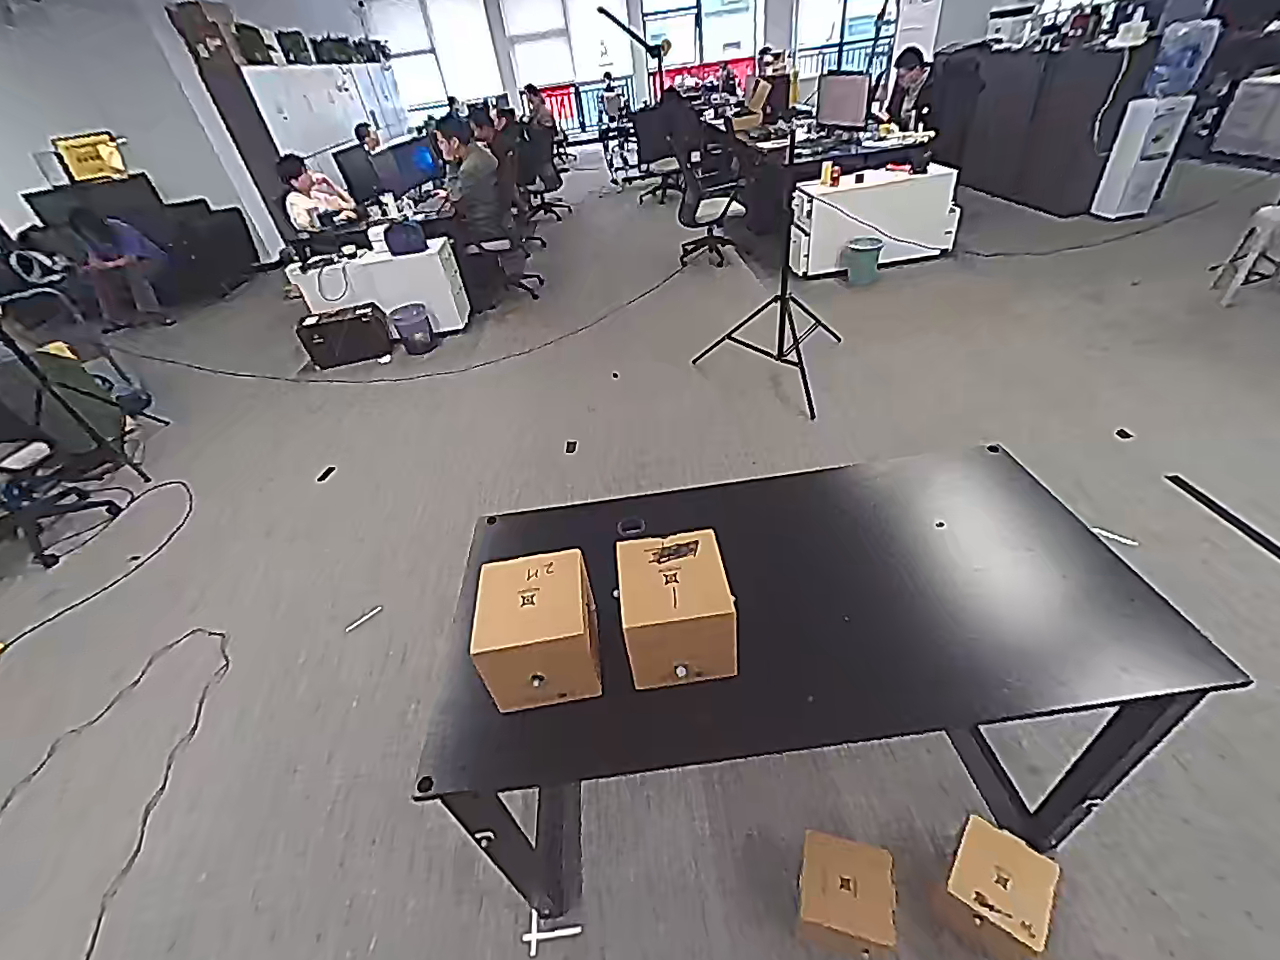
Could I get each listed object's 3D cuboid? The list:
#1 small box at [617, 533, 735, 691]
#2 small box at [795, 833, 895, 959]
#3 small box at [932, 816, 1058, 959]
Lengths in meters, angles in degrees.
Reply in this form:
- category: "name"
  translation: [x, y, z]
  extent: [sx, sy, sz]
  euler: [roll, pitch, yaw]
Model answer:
- category: "small box"
  translation: [0.057, 0.214, 0.884]
  extent: [0.168, 0.176, 0.179]
  euler: [-9, 39, 1]
- category: "small box"
  translation: [0.429, 0.889, 1.146]
  extent: [0.179, 0.176, 0.168]
  euler: [4, 39, 17]
- category: "small box"
  translation: [0.729, 0.857, 1.123]
  extent: [0.168, 0.176, 0.179]
  euler: [22, 48, 33]
